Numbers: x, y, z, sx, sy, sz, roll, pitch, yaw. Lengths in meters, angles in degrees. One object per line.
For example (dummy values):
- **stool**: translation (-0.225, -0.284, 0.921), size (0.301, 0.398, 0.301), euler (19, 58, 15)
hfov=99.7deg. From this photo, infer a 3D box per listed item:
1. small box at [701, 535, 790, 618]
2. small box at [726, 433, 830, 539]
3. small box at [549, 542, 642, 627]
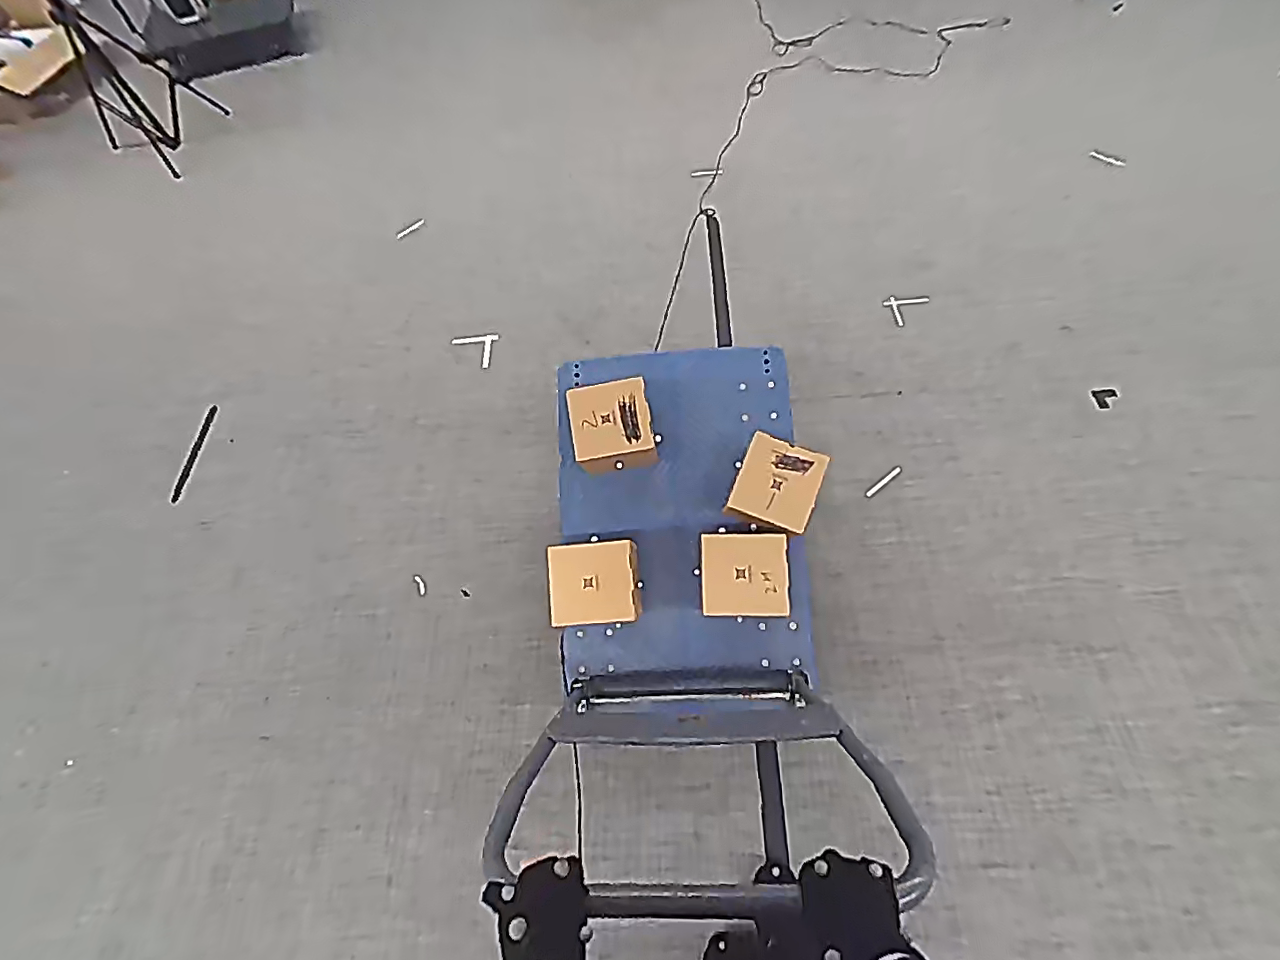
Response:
- **small box**: translation (0.221, 0.209, 1.172), size (0.179, 0.176, 0.168), euler (-1, 80, 5)
- **small box**: translation (0.297, 0.020, 1.199), size (0.168, 0.176, 0.179), euler (21, 83, 9)
- **small box**: translation (-0.094, 0.231, 1.198), size (0.179, 0.176, 0.168), euler (-6, 79, 2)
